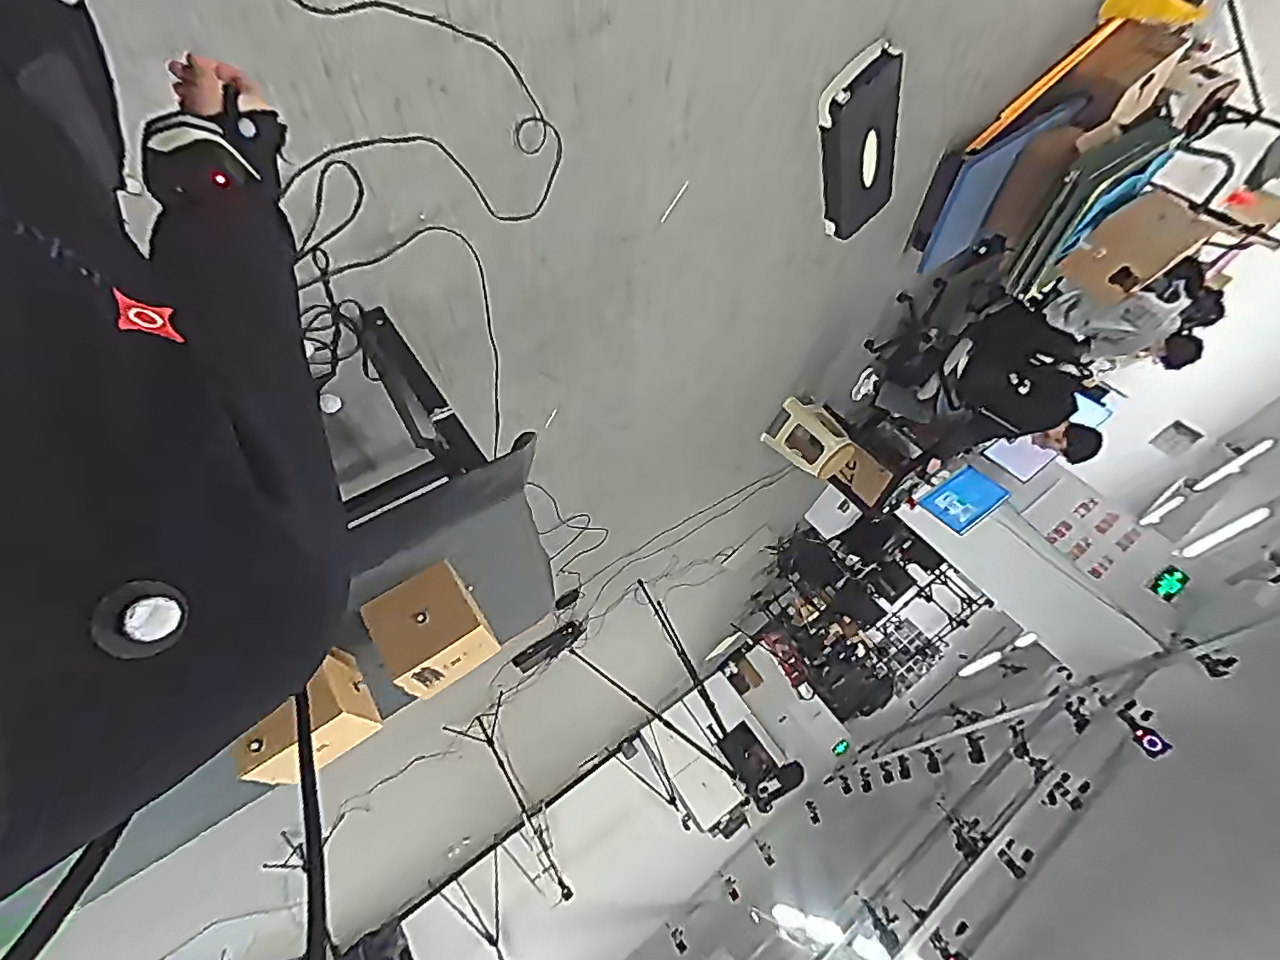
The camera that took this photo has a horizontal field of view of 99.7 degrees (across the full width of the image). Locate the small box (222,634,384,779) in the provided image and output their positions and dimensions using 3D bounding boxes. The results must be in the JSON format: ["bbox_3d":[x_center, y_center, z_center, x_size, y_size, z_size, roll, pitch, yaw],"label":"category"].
[{"bbox_3d":[-0.614,0.413,0.992,0.179,0.176,0.168,-32,153,-17],"label":"small box"}]
